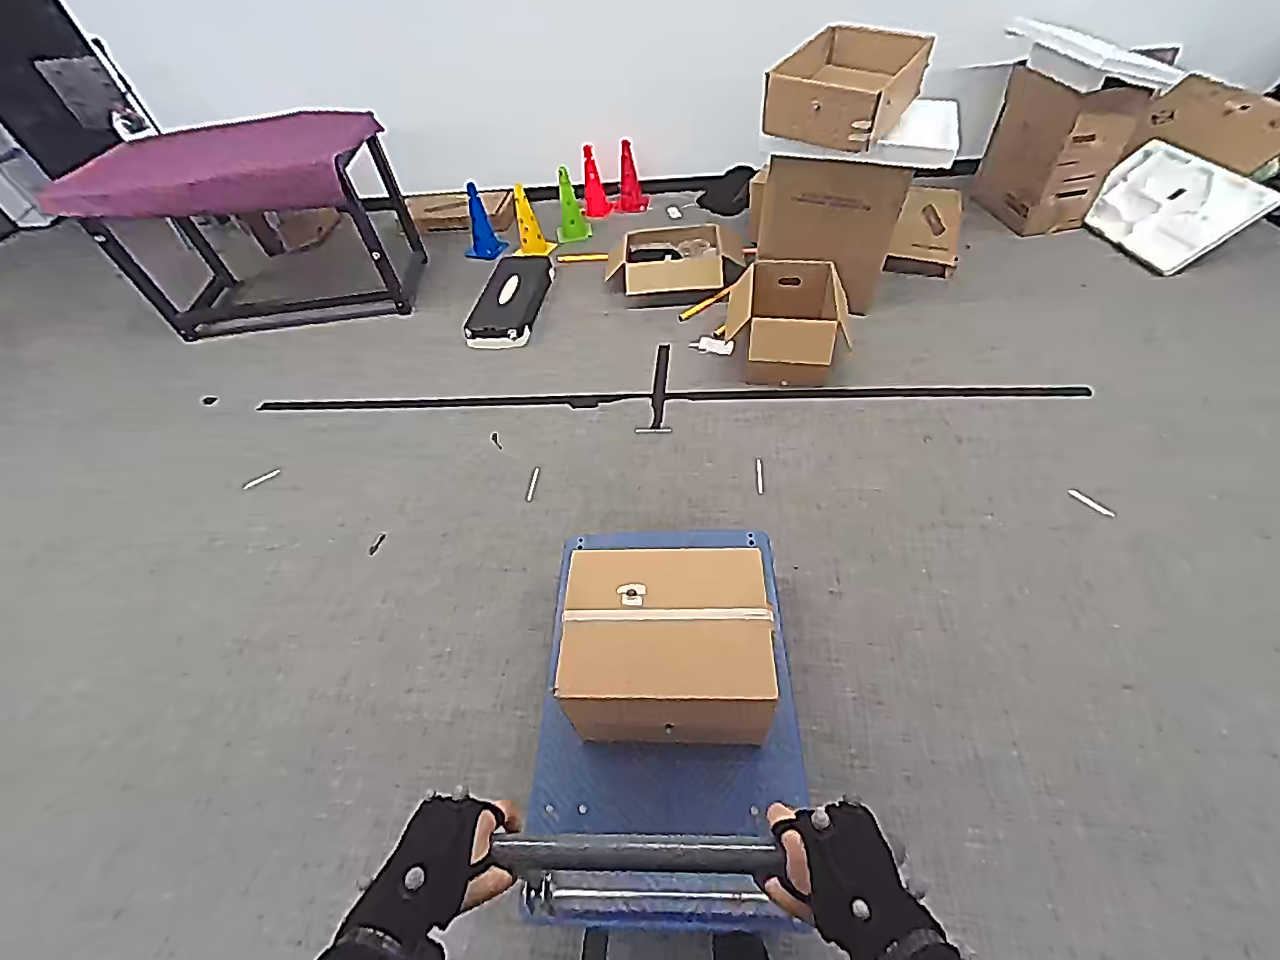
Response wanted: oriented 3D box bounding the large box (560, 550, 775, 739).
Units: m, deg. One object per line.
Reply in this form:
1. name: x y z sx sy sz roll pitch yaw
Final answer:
1. large box: 0.065 0.373 1.196 0.408 0.320 0.320 -3 50 5
